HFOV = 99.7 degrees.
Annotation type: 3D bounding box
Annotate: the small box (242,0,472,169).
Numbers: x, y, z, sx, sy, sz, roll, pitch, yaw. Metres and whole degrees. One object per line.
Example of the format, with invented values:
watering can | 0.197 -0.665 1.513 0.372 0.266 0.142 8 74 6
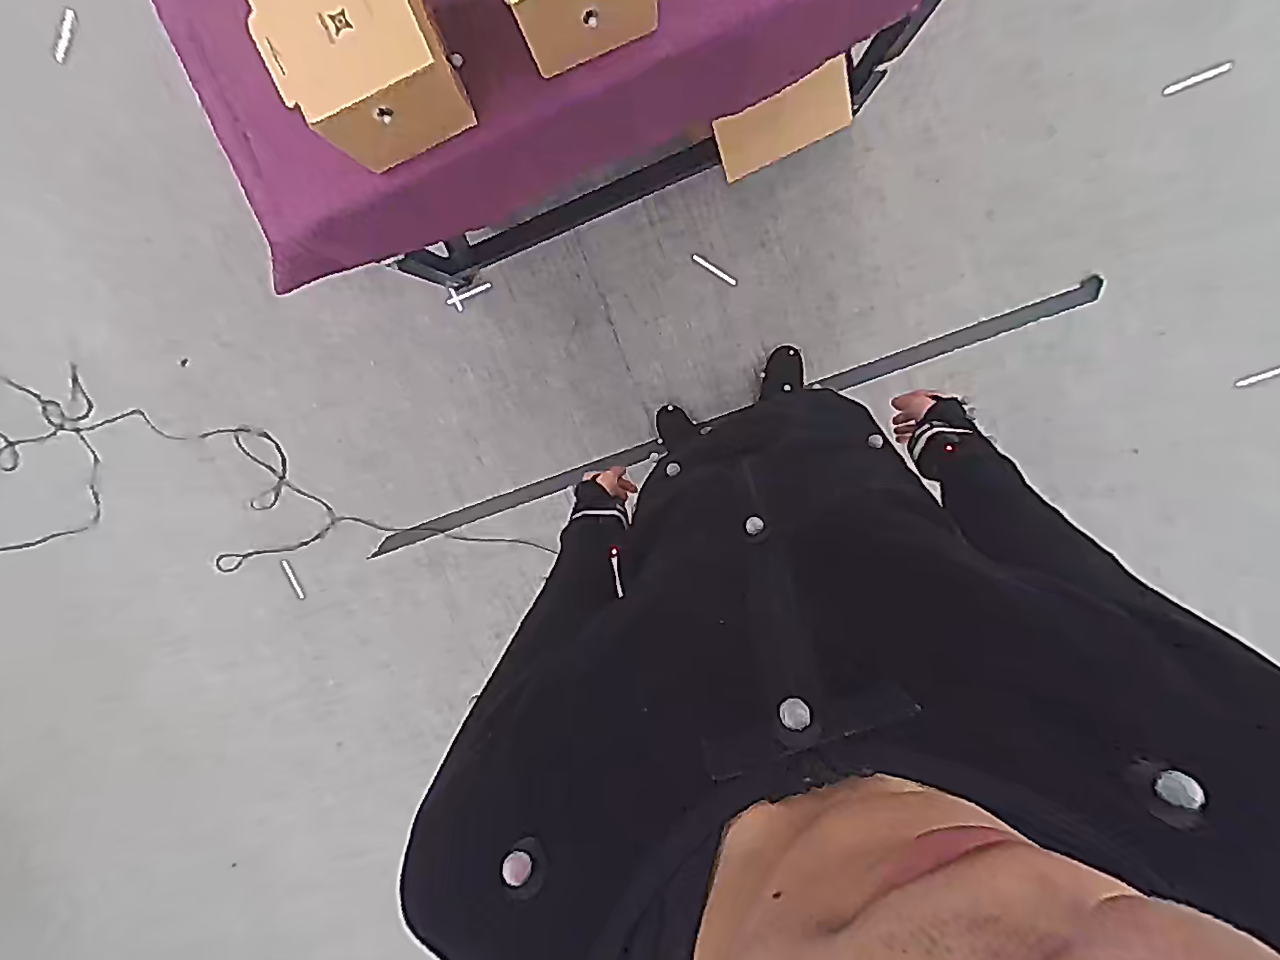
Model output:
small box | -0.351 -0.541 0.702 0.179 0.176 0.168 -22 101 6
